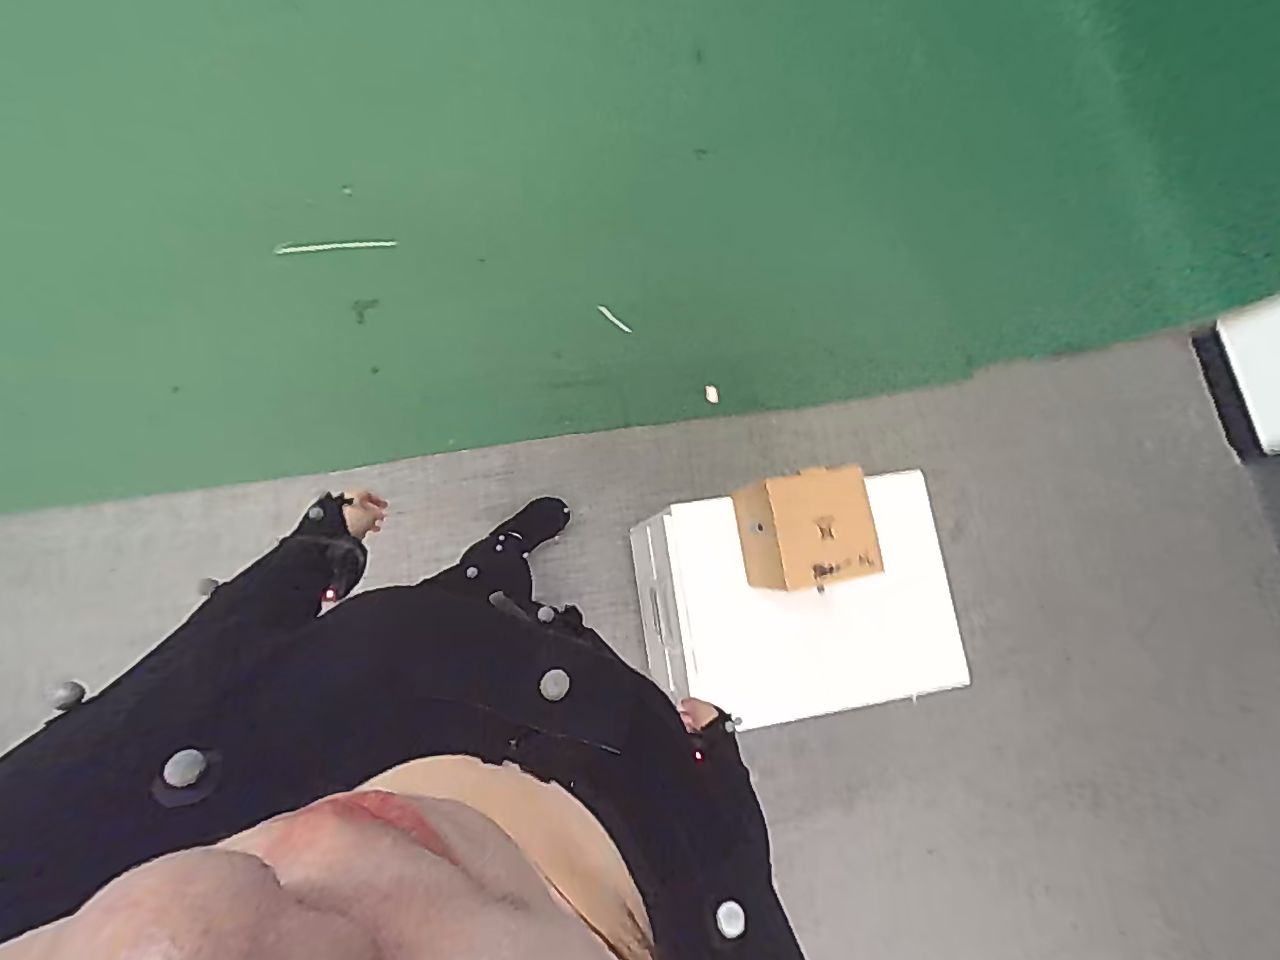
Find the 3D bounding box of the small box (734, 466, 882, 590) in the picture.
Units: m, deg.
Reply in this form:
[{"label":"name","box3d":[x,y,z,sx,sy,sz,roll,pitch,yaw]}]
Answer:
[{"label":"small box","box3d":[0.270,0.084,0.910,0.168,0.176,0.179,-8,83,-10]}]
